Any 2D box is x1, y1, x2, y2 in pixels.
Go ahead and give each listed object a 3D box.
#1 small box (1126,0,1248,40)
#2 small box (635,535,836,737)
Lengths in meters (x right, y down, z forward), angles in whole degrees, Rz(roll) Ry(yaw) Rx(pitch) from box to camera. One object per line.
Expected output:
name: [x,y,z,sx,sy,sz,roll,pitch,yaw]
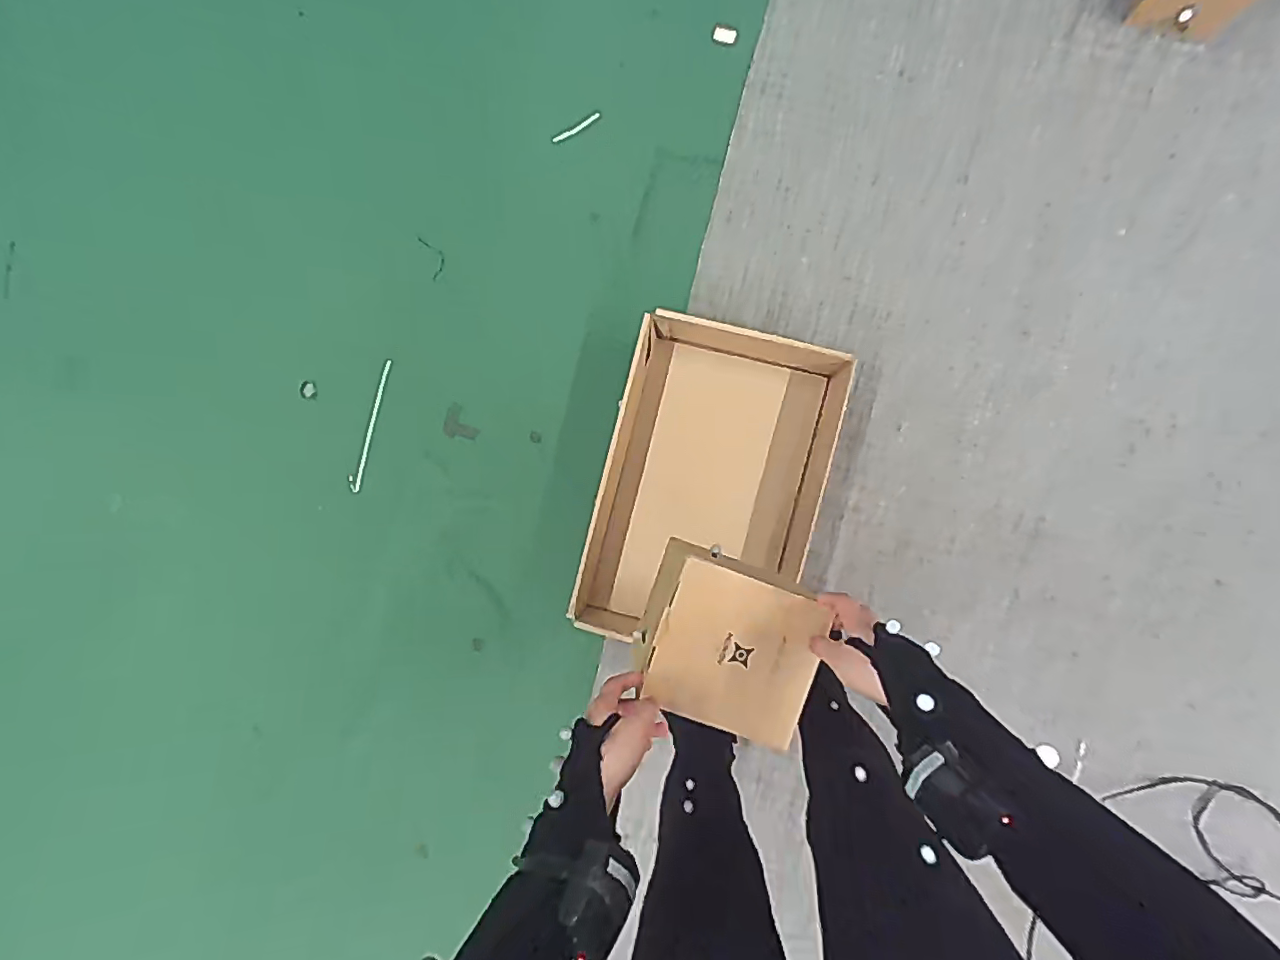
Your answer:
small box: [1.068,-0.983,1.003,0.168,0.176,0.179,20,92,6]
small box: [0.100,0.172,0.657,0.179,0.176,0.168,19,91,-4]
